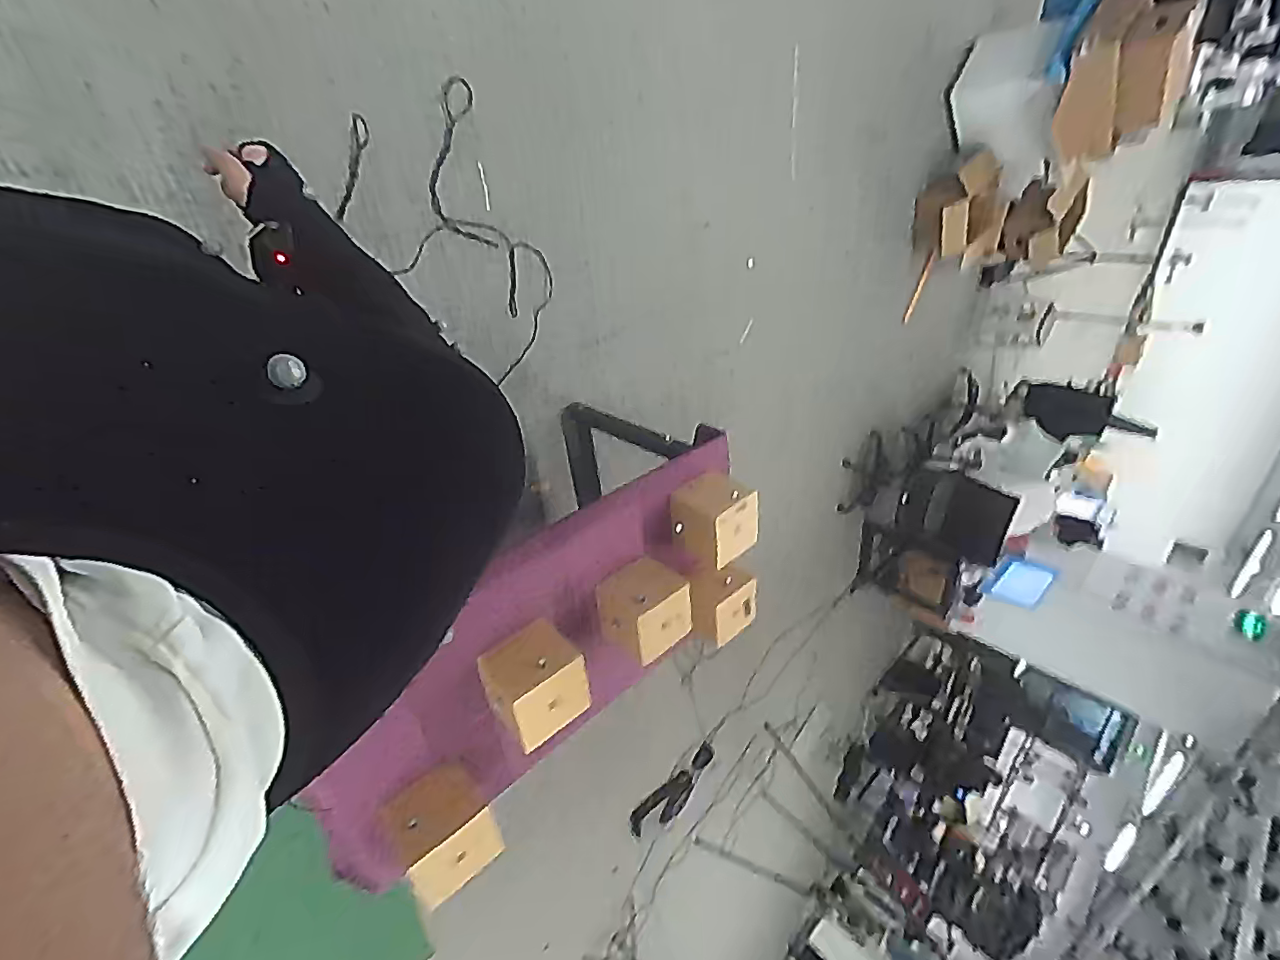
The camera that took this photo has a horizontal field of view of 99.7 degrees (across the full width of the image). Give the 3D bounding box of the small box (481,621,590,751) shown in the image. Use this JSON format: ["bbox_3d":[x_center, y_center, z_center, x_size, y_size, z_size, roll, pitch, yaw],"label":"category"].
[{"bbox_3d":[-0.239,0.454,1.216,0.179,0.176,0.168,-28,126,-34],"label":"small box"}]

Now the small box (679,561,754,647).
[{"bbox_3d":[0.221,0.354,1.620,0.179,0.176,0.168,-27,126,-32],"label":"small box"}]

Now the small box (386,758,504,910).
[{"bbox_3d":[-0.425,0.754,1.169,0.179,0.176,0.168,-27,125,-35],"label":"small box"}]

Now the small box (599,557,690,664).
[{"bbox_3d":[0.008,0.331,1.397,0.179,0.176,0.168,-28,127,-33],"label":"small box"}]

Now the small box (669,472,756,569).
[{"bbox_3d":[0.196,0.104,1.474,0.168,0.176,0.179,-30,129,-32],"label":"small box"}]
